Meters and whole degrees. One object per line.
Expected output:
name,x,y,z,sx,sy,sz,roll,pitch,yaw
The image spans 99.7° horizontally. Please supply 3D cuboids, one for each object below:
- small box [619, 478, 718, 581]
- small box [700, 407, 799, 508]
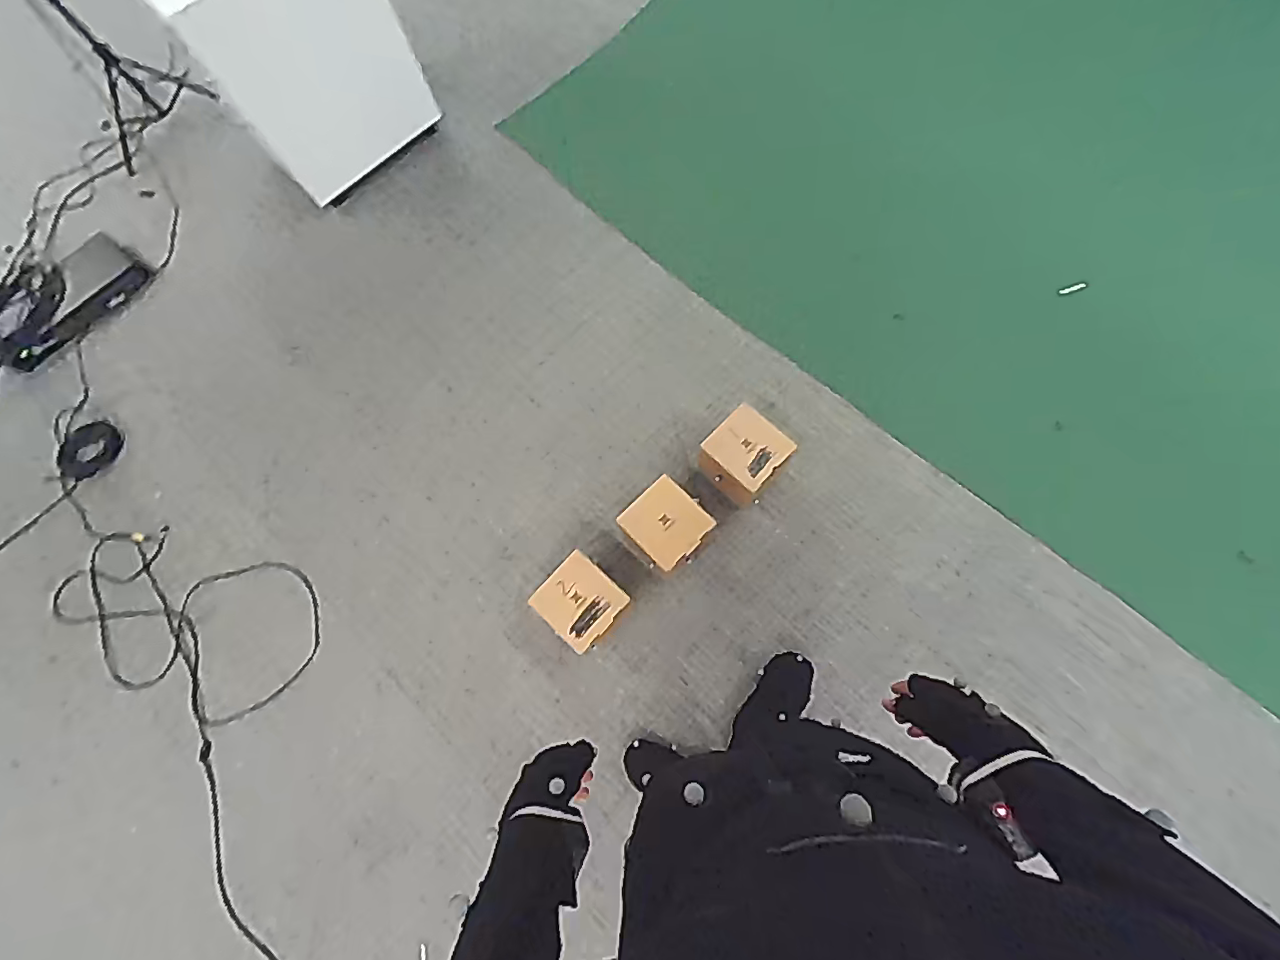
small box,0.069,0.129,1.330,0.168,0.176,0.179,-43,75,-10
small box,0.269,-0.047,1.372,0.168,0.176,0.179,-44,74,-10
